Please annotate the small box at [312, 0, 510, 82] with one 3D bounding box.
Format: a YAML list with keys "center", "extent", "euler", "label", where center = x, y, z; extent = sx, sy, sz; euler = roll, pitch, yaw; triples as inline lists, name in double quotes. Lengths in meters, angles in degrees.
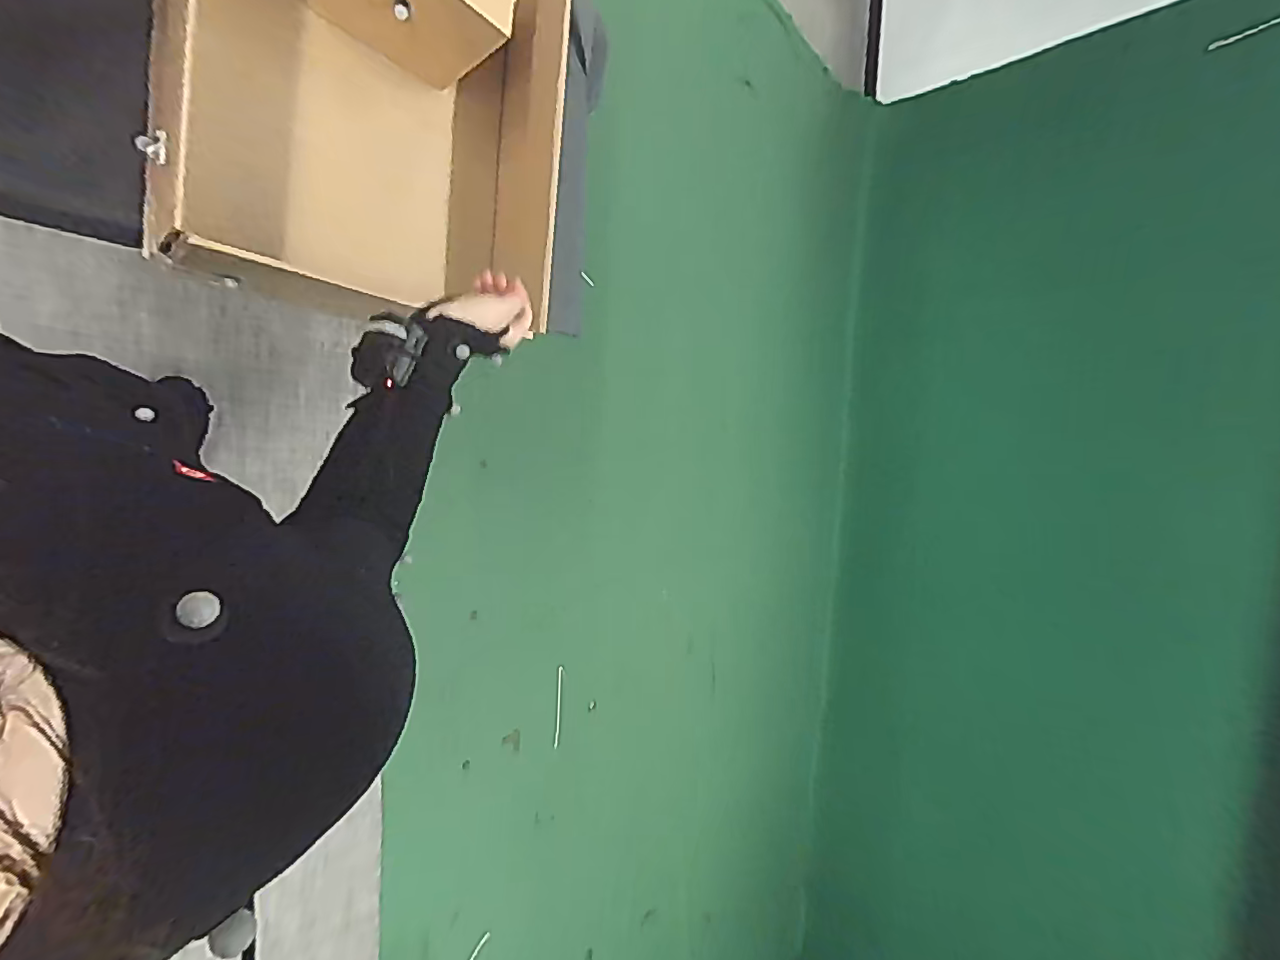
- center: [-0.269, -0.623, 0.640]
  extent: [0.179, 0.176, 0.168]
  euler: [4, 93, -47]
  label: "small box"
